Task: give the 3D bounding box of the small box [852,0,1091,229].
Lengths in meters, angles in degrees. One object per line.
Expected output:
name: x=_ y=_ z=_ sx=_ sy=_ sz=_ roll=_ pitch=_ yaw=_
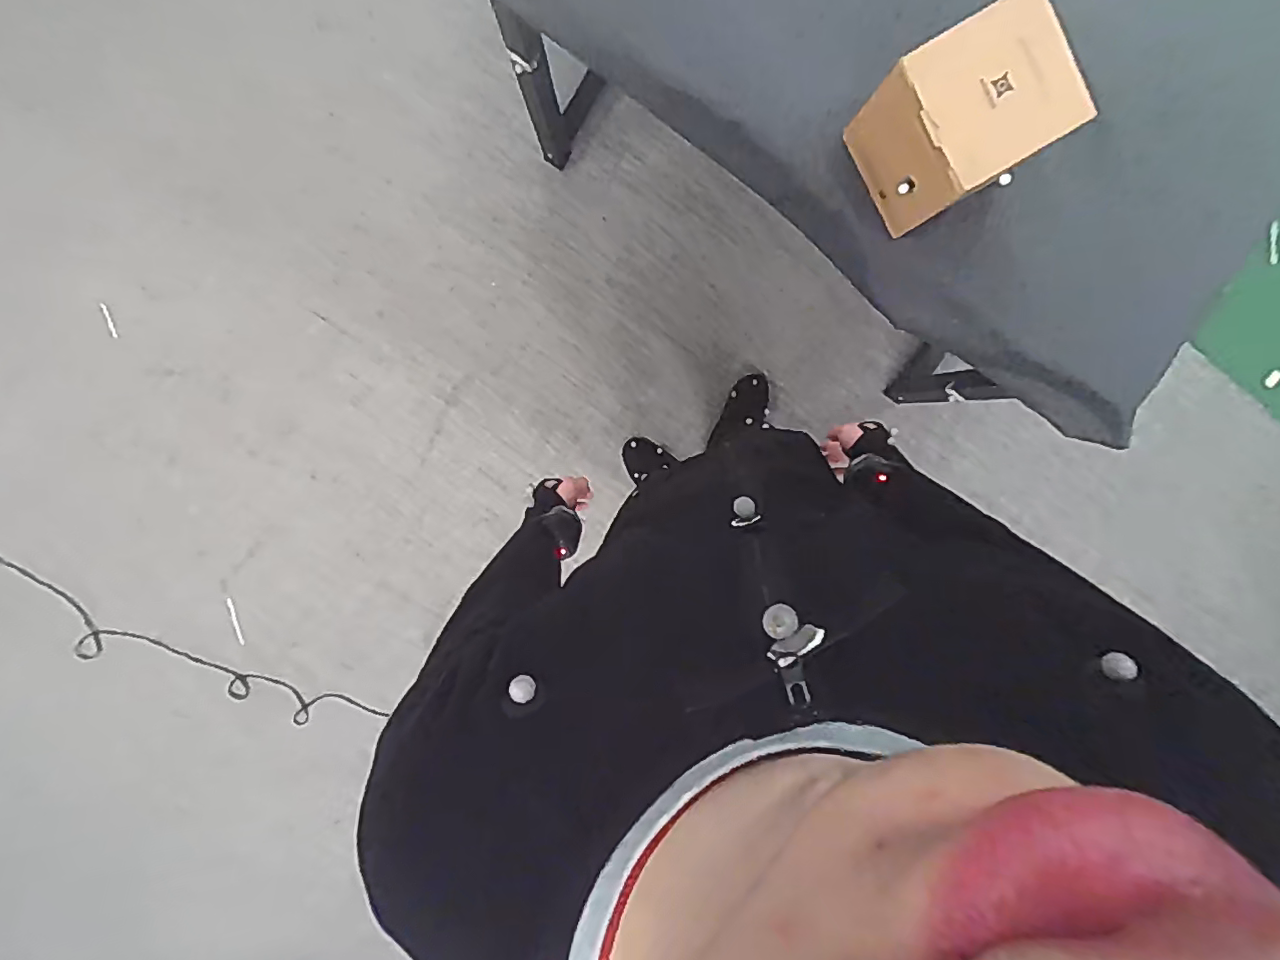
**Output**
small box: x=0.398 y=-0.454 z=0.687 sx=0.179 sy=0.176 sz=0.168 roll=-31 pitch=98 yaw=1
